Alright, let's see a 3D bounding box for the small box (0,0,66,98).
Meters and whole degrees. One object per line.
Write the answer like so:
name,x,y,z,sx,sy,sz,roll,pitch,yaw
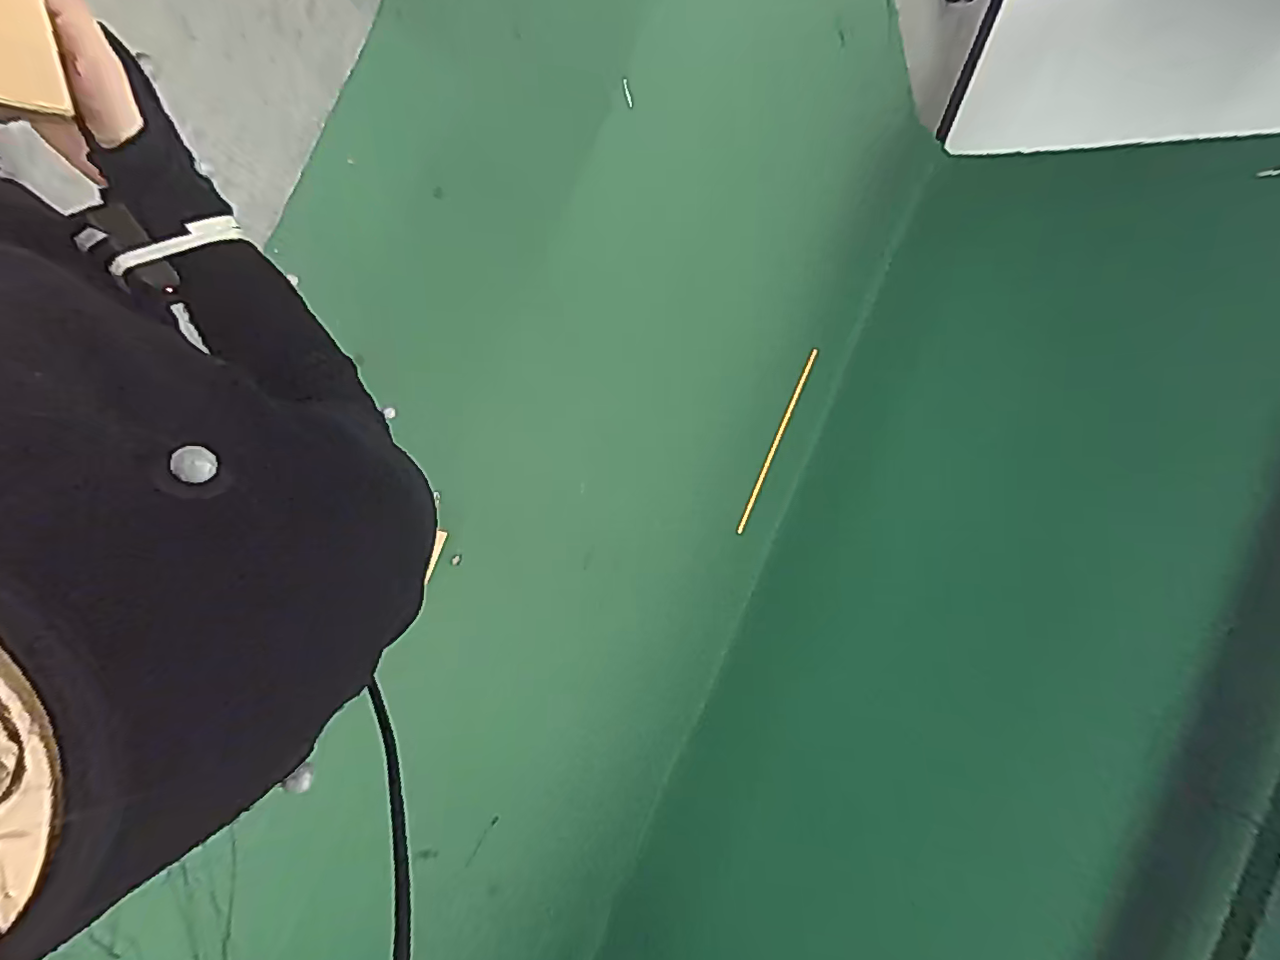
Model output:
small box,-0.399,-0.283,0.221,0.168,0.176,0.179,-26,132,-52
